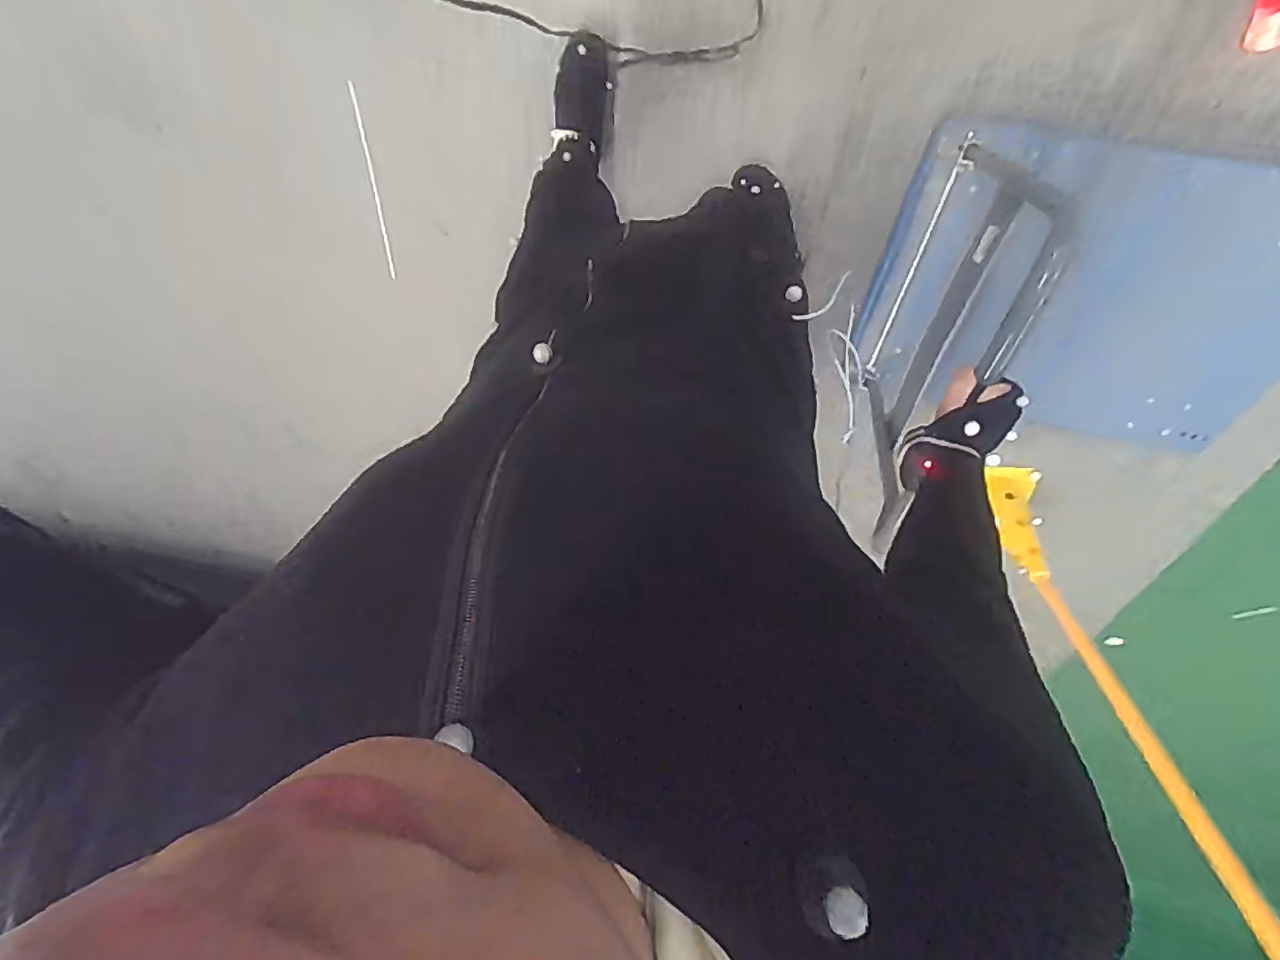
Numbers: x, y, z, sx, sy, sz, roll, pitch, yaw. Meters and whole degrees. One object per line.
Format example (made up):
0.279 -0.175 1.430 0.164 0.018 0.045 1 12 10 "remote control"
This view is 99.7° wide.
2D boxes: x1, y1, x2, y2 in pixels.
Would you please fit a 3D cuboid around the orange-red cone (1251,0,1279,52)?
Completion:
1.160 -0.760 0.782 0.198 0.360 0.199 -1 126 14 "orange-red cone"
